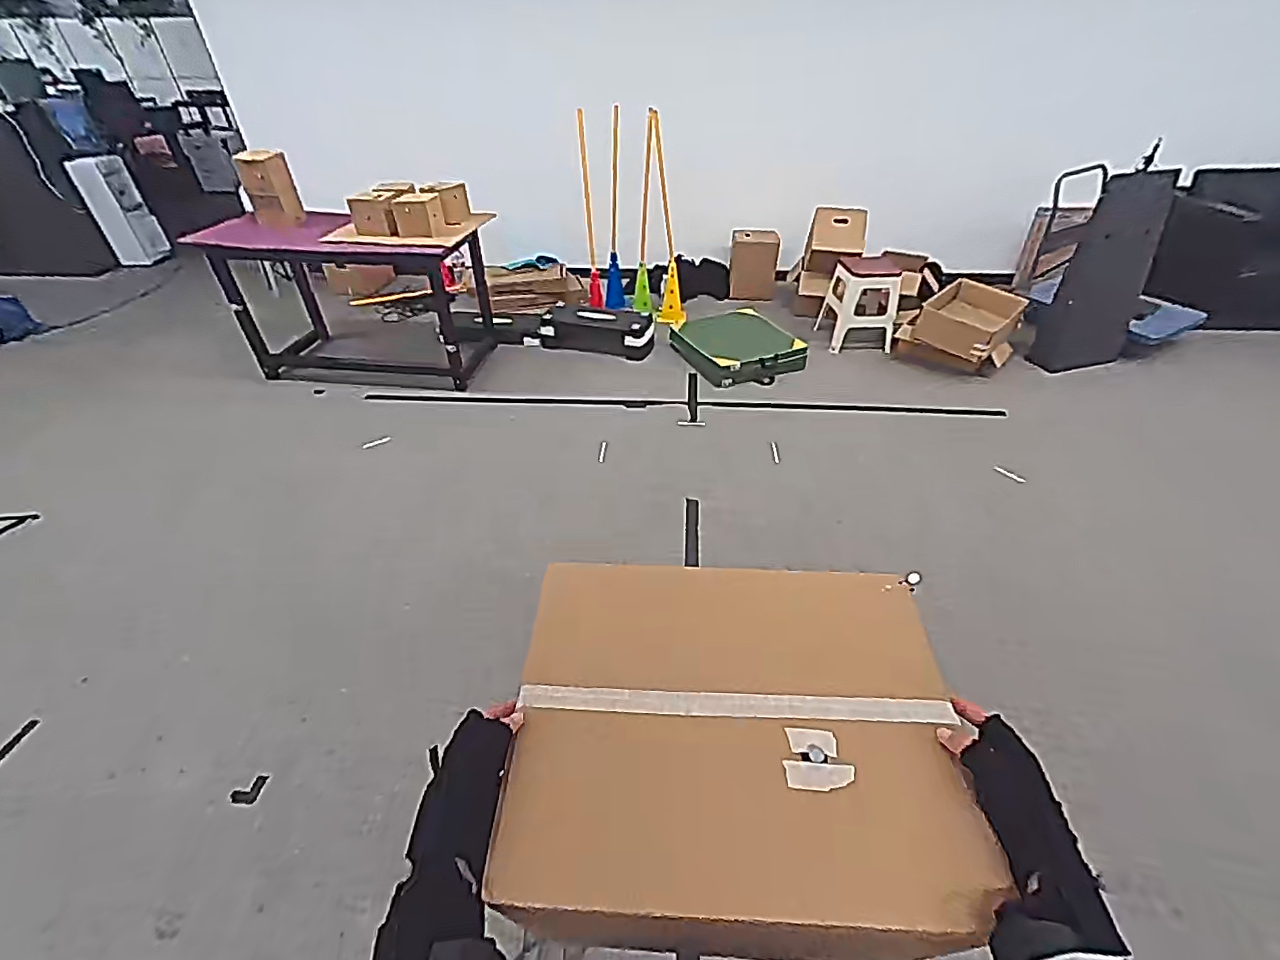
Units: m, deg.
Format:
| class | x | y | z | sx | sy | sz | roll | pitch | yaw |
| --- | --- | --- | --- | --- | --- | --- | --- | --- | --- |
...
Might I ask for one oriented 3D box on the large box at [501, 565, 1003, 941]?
| class | x | y | z | sx | sy | sz | roll | pitch | yaw |
| --- | --- | --- | --- | --- | --- | --- | --- | --- | --- |
| large box | 0.091 | 0.317 | 0.632 | 0.408 | 0.320 | 0.320 | 2 | 47 | 2 |
